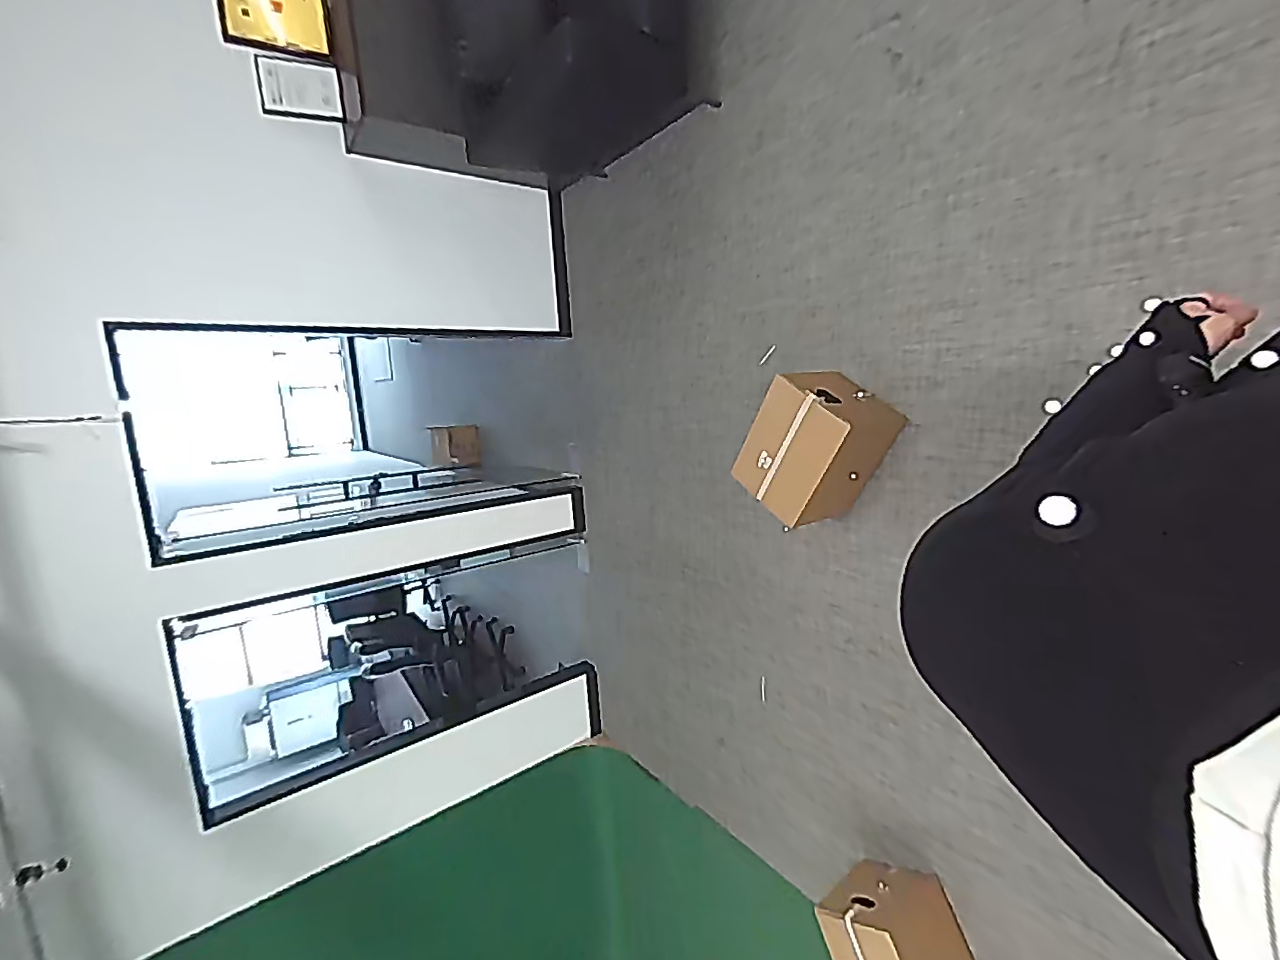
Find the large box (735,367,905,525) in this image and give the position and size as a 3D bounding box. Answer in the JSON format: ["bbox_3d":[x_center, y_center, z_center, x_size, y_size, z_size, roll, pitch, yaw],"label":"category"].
[{"bbox_3d":[0.584,-0.124,1.794,0.320,0.320,0.408,49,135,37],"label":"large box"}]
